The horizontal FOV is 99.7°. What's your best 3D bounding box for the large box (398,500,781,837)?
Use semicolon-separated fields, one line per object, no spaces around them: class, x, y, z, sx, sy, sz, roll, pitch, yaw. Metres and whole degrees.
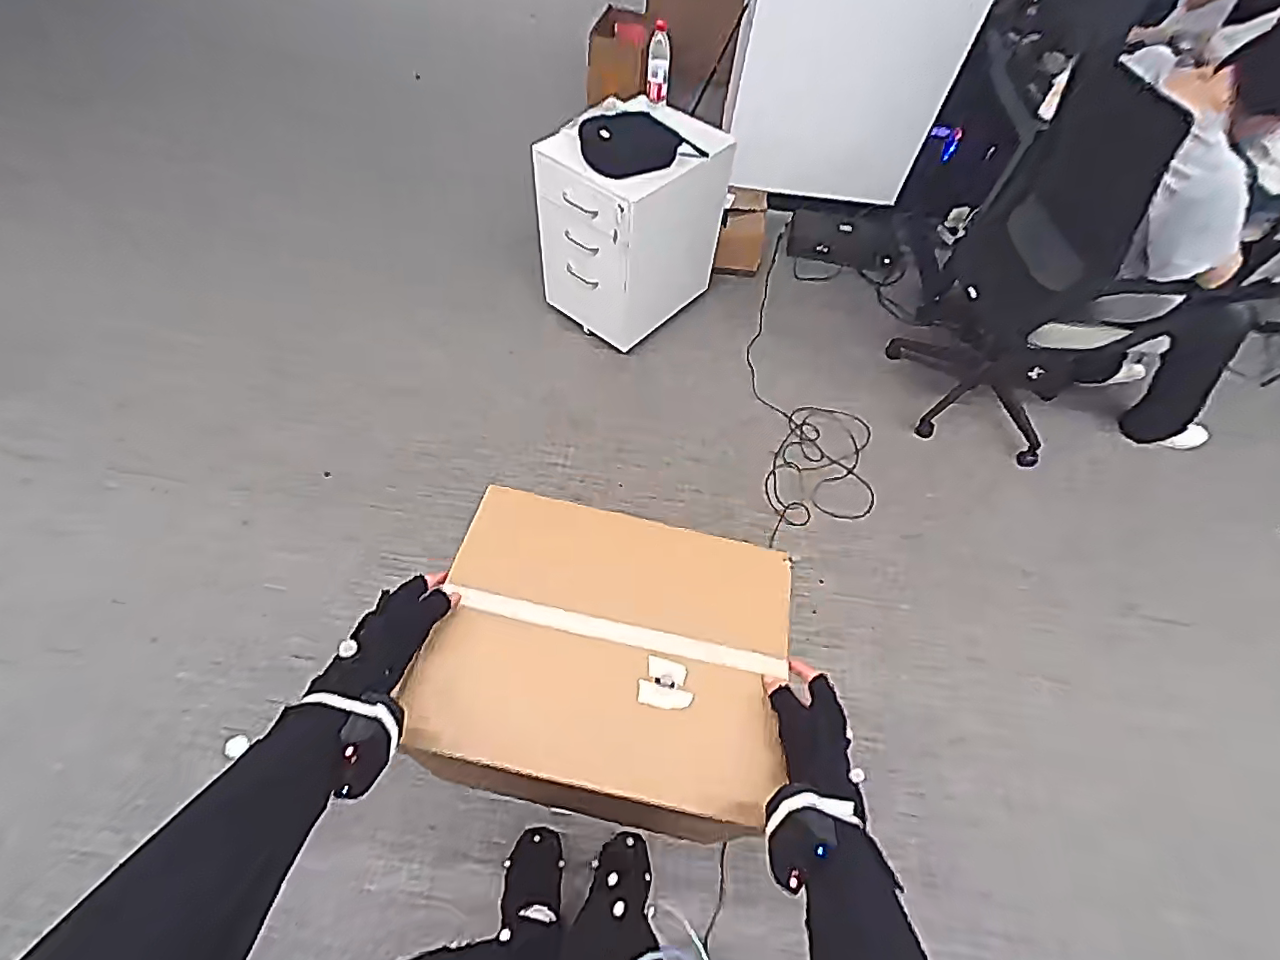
large box;-0.051;0.272;0.754;0.408;0.320;0.320;13;54;0
